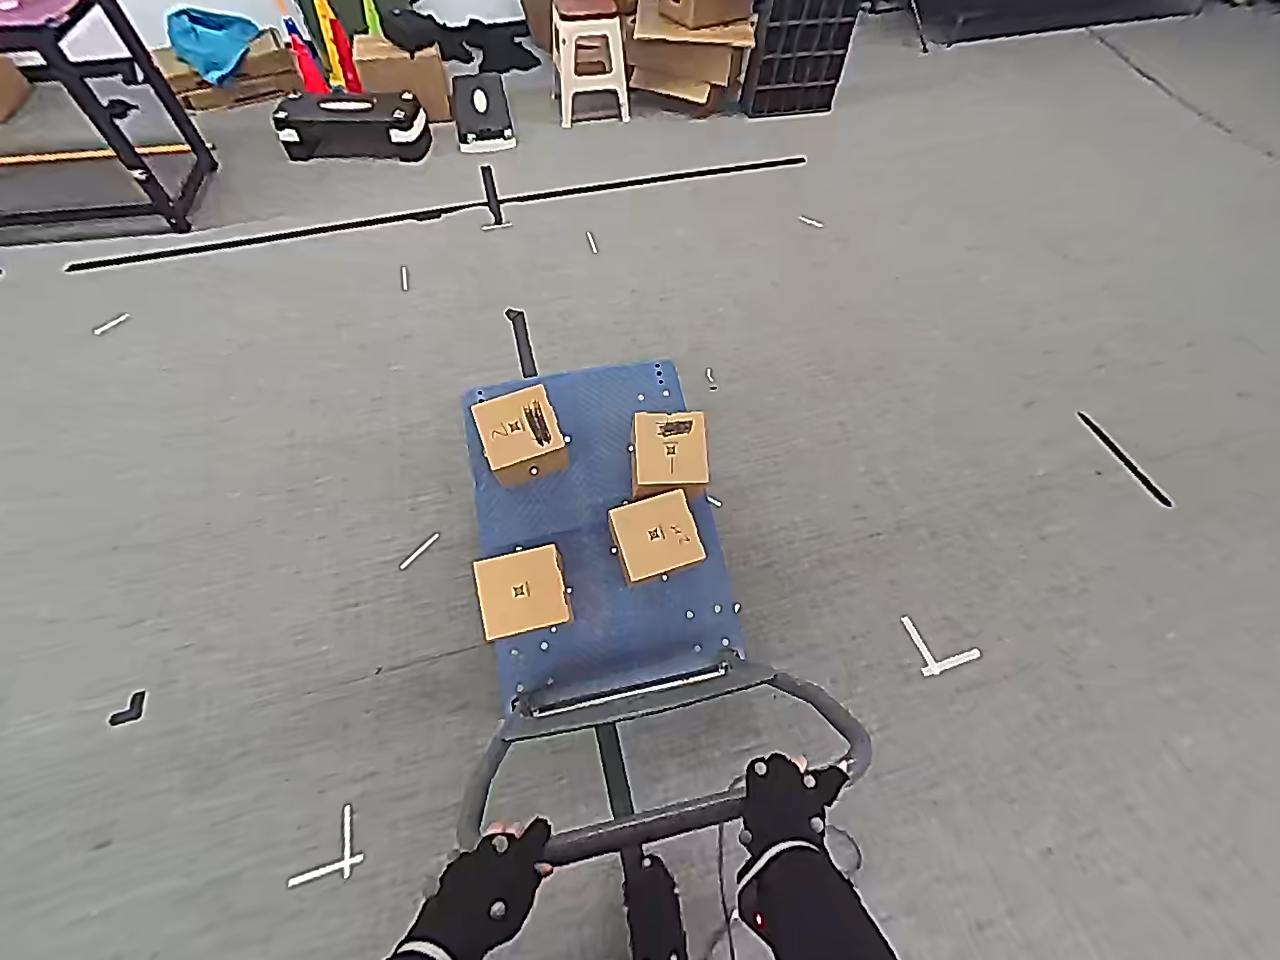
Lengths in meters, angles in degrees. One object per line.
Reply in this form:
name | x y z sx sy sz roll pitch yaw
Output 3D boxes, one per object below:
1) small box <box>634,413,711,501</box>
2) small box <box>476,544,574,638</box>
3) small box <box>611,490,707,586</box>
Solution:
small box | 0.073 -0.052 1.314 0.168 0.176 0.179 -1 75 -4
small box | -0.250 0.253 1.207 0.179 0.176 0.168 -12 75 -9
small box | 0.038 0.141 1.257 0.179 0.176 0.168 -16 76 -8
